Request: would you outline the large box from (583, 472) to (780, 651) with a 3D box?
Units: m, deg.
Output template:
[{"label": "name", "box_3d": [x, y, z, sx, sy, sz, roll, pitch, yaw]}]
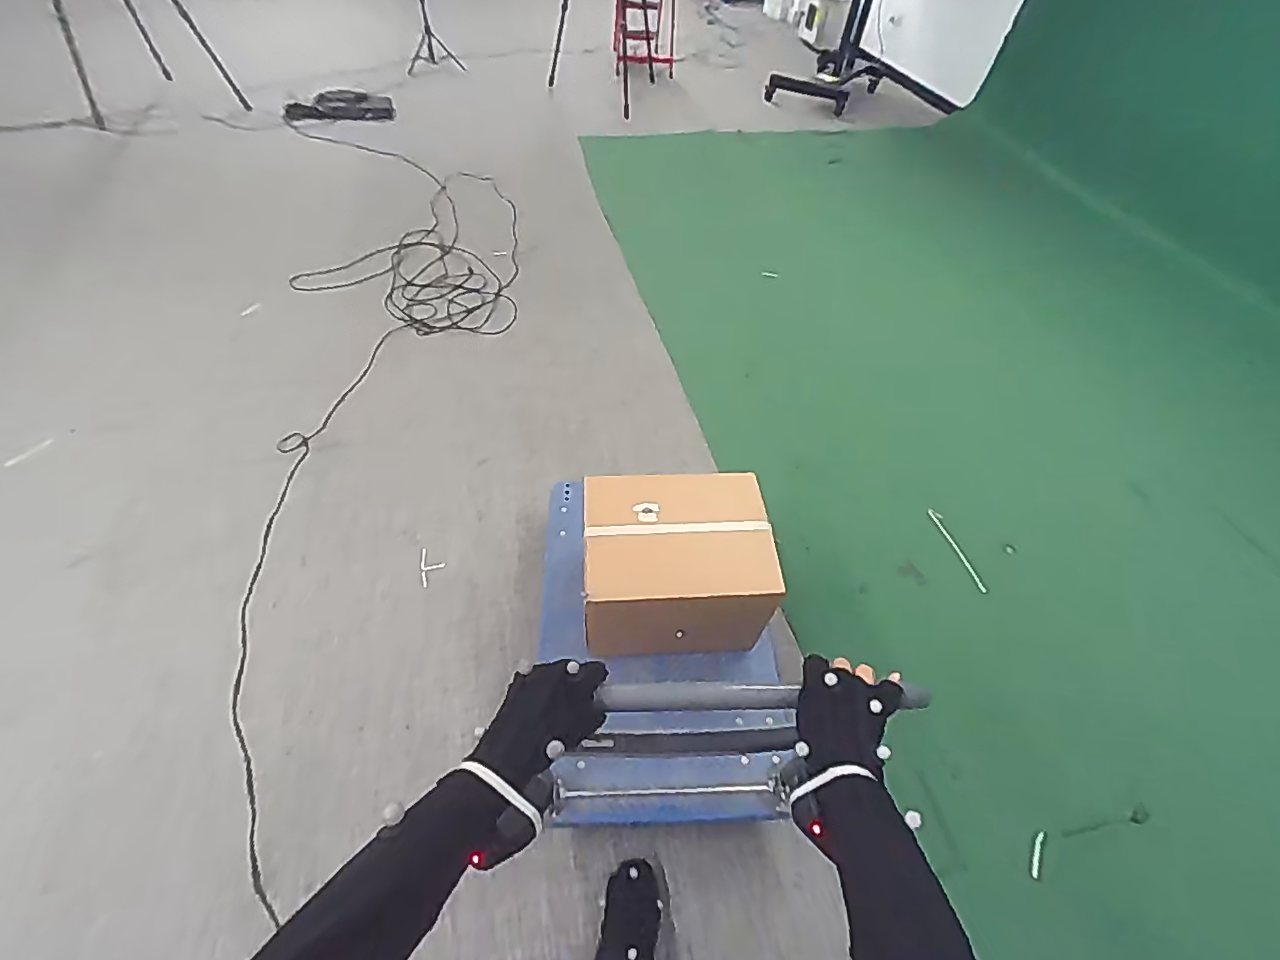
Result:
[{"label": "large box", "box_3d": [0.074, 0.201, 1.297, 0.408, 0.320, 0.320, -2, 52, -5]}]
